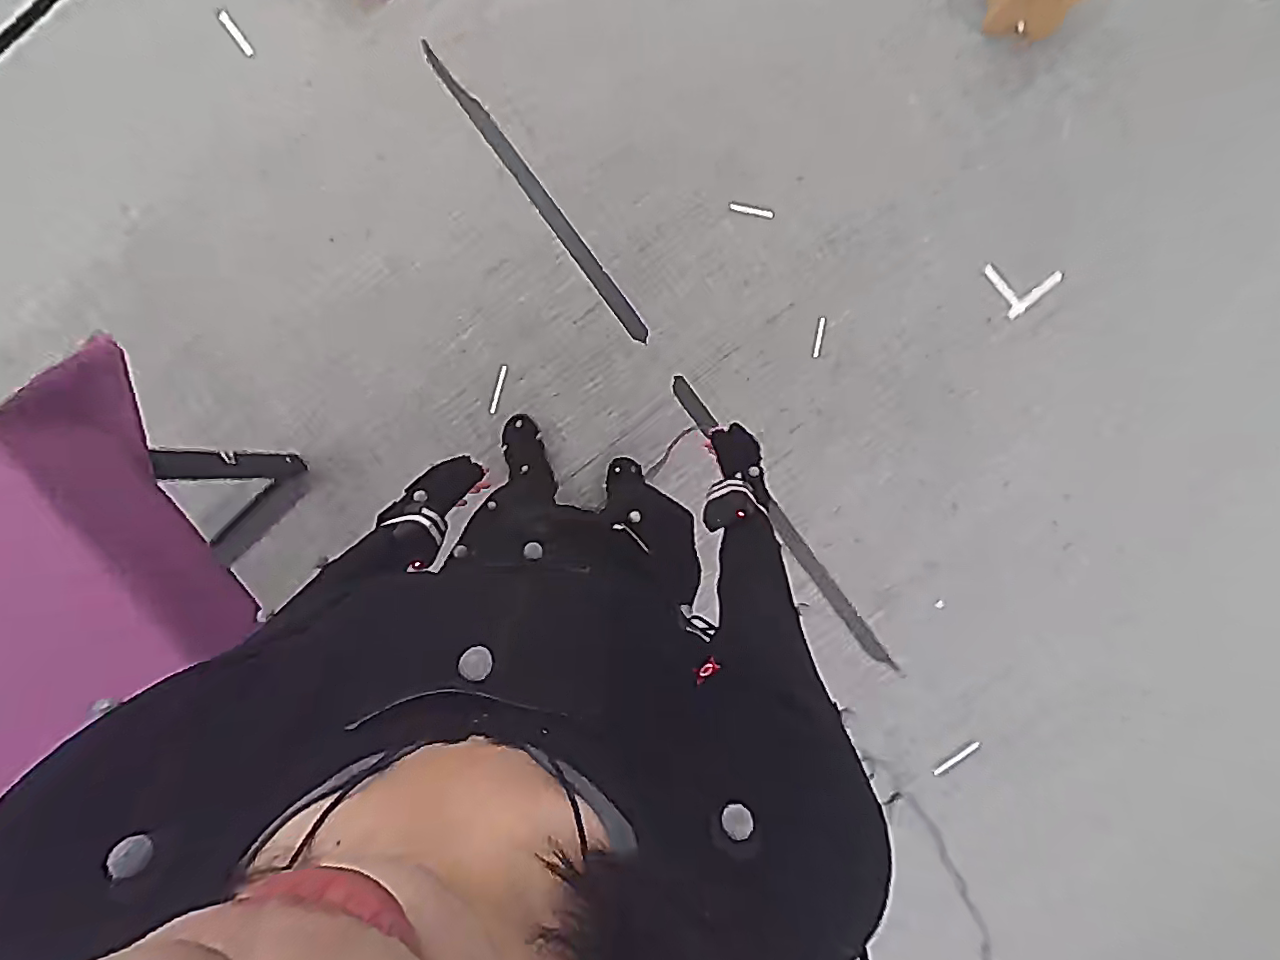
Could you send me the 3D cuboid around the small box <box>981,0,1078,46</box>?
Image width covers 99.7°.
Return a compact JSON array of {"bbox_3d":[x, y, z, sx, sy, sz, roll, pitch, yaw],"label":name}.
[{"bbox_3d":[1.008,-1.268,1.374,0.168,0.176,0.179,13,92,3],"label":"small box"}]
